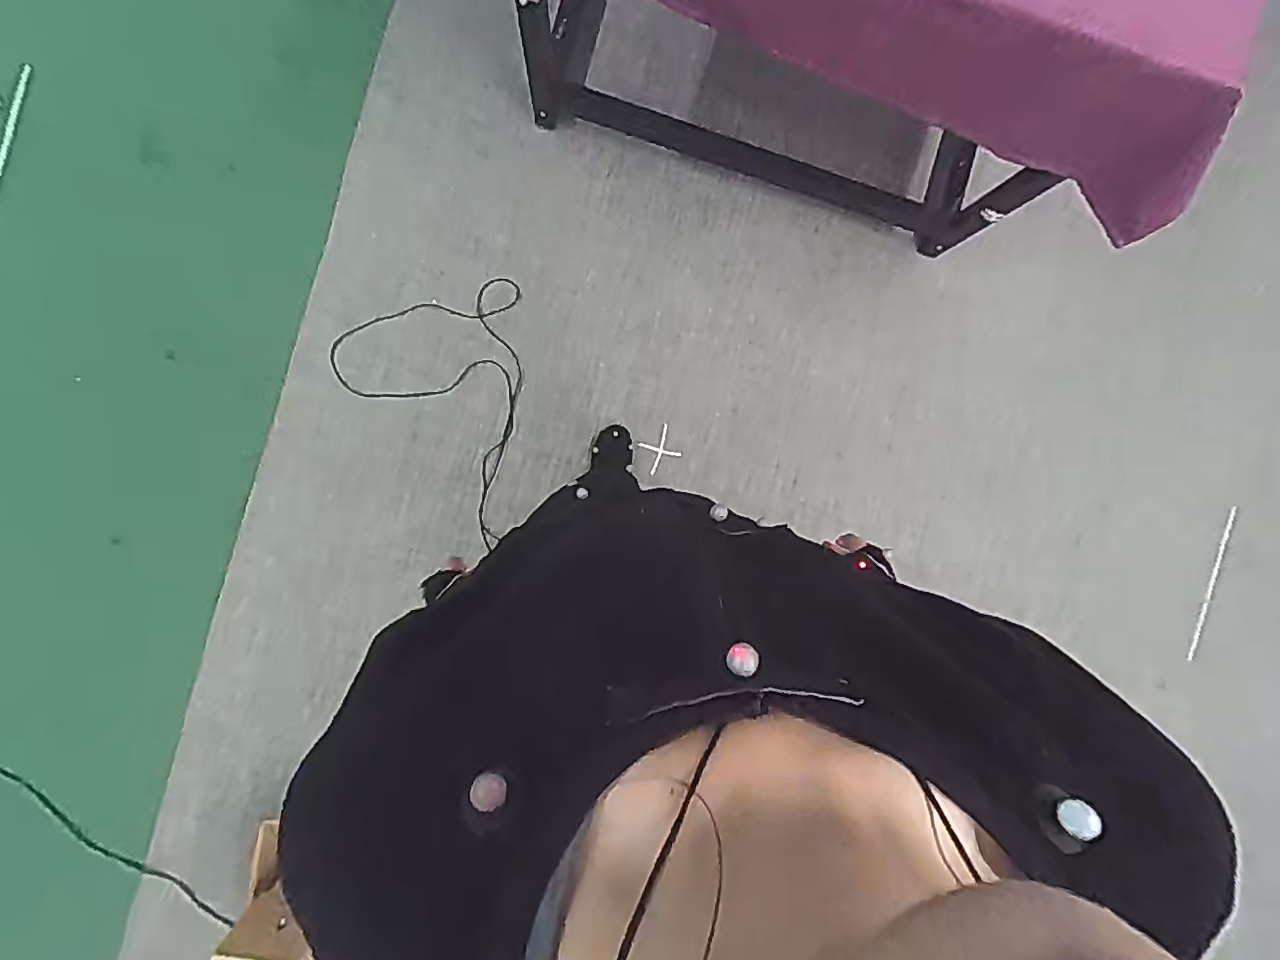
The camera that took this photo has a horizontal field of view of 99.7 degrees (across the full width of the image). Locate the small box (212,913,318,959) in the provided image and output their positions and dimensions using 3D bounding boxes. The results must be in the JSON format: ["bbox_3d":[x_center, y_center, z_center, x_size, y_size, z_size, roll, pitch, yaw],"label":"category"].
[{"bbox_3d":[-0.802,1.050,1.119,0.168,0.176,0.179,13,89,-4],"label":"small box"}]
